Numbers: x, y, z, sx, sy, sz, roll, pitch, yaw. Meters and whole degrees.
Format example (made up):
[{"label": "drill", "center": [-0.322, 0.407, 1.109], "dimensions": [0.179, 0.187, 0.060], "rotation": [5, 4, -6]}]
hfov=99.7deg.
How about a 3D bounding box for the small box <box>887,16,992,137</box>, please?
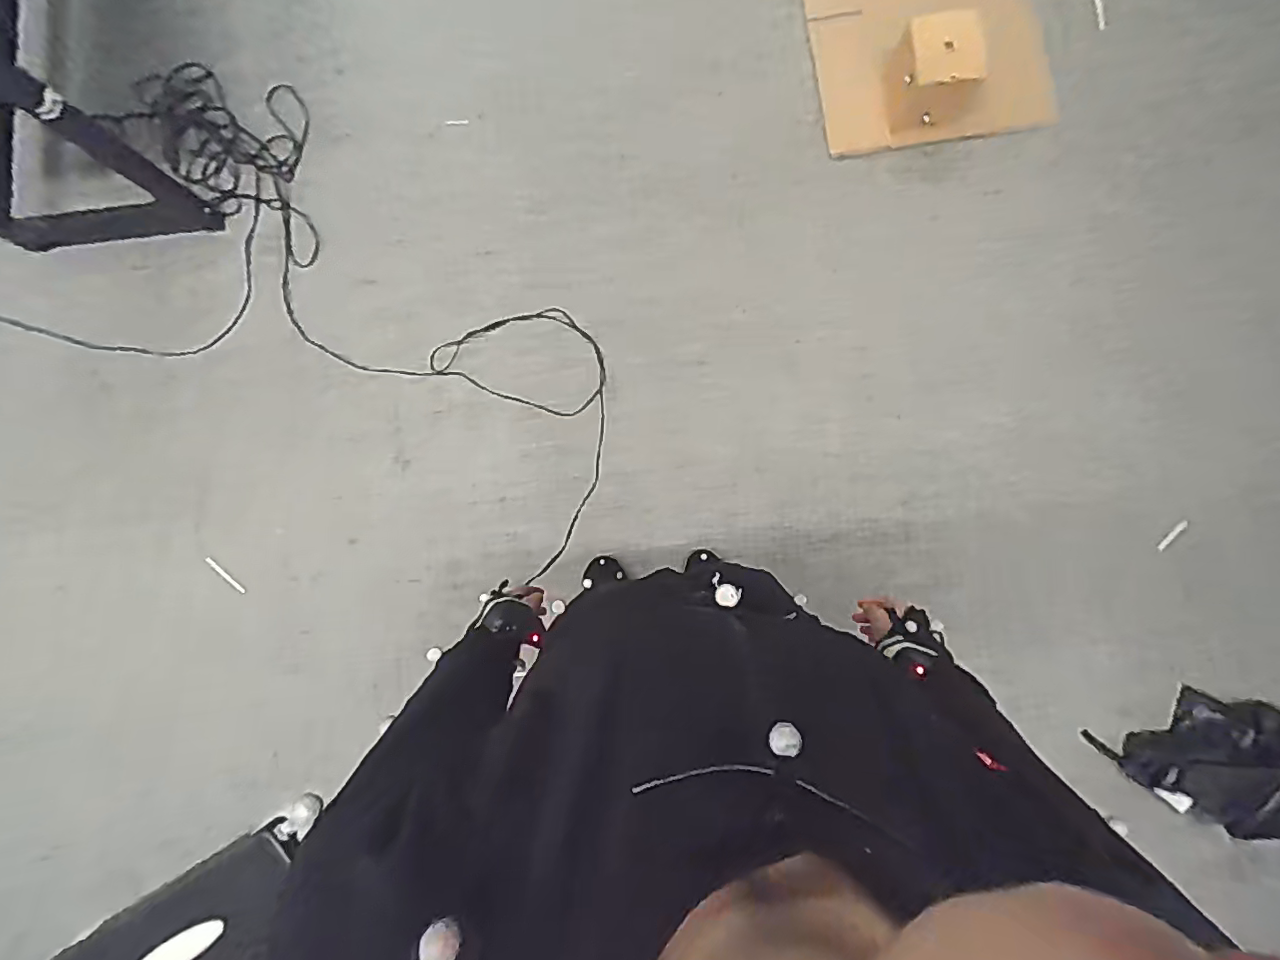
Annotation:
[{"label": "small box", "center": [0.745, -1.012, 1.366], "dimensions": [0.168, 0.176, 0.179], "rotation": [-5, 85, 2]}]
